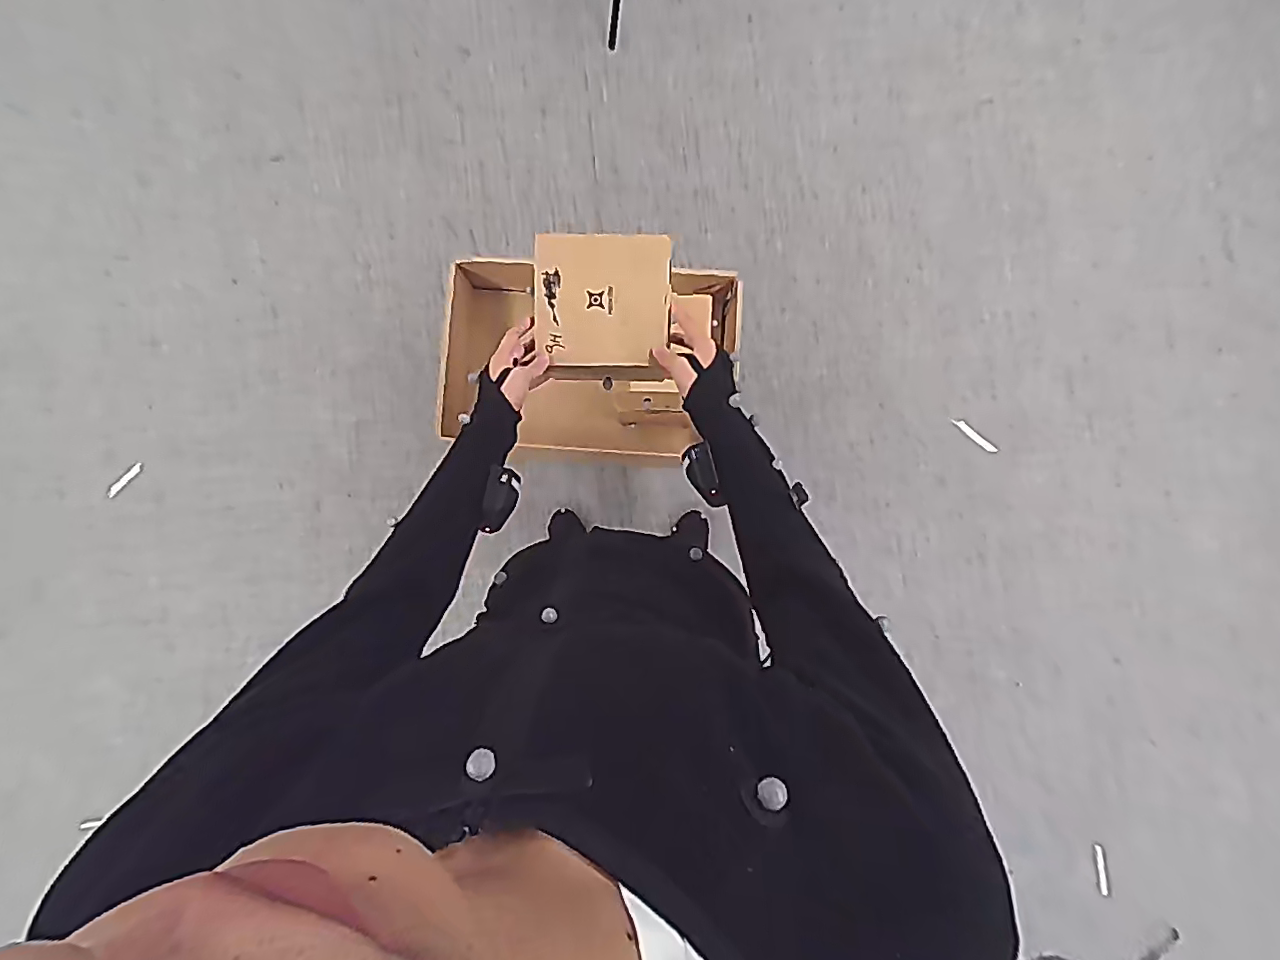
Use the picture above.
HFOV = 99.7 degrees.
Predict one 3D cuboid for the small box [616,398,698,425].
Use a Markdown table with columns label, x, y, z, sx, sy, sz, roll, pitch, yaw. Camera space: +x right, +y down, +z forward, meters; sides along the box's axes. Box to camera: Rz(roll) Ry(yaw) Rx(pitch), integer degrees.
| label | x | y | z | sx | sy | sz | roll | pitch | yaw |
| --- | --- | --- | --- | --- | --- | --- | --- | --- | --- |
| small box | 0.038 | -0.215 | 1.154 | 0.168 | 0.176 | 0.179 | 1 | 85 | 0 |

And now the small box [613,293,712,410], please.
| label | x | y | z | sx | sy | sz | roll | pitch | yaw |
| --- | --- | --- | --- | --- | --- | --- | --- | --- | --- |
| small box | 0.039 | -0.228 | 0.992 | 0.168 | 0.176 | 0.179 | 1 | 85 | 0 |

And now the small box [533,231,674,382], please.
| label | x | y | z | sx | sy | sz | roll | pitch | yaw |
| --- | --- | --- | --- | --- | --- | --- | --- | --- | --- |
| small box | -0.047 | -0.229 | 0.752 | 0.179 | 0.176 | 0.168 | 1 | 94 | -1 |
